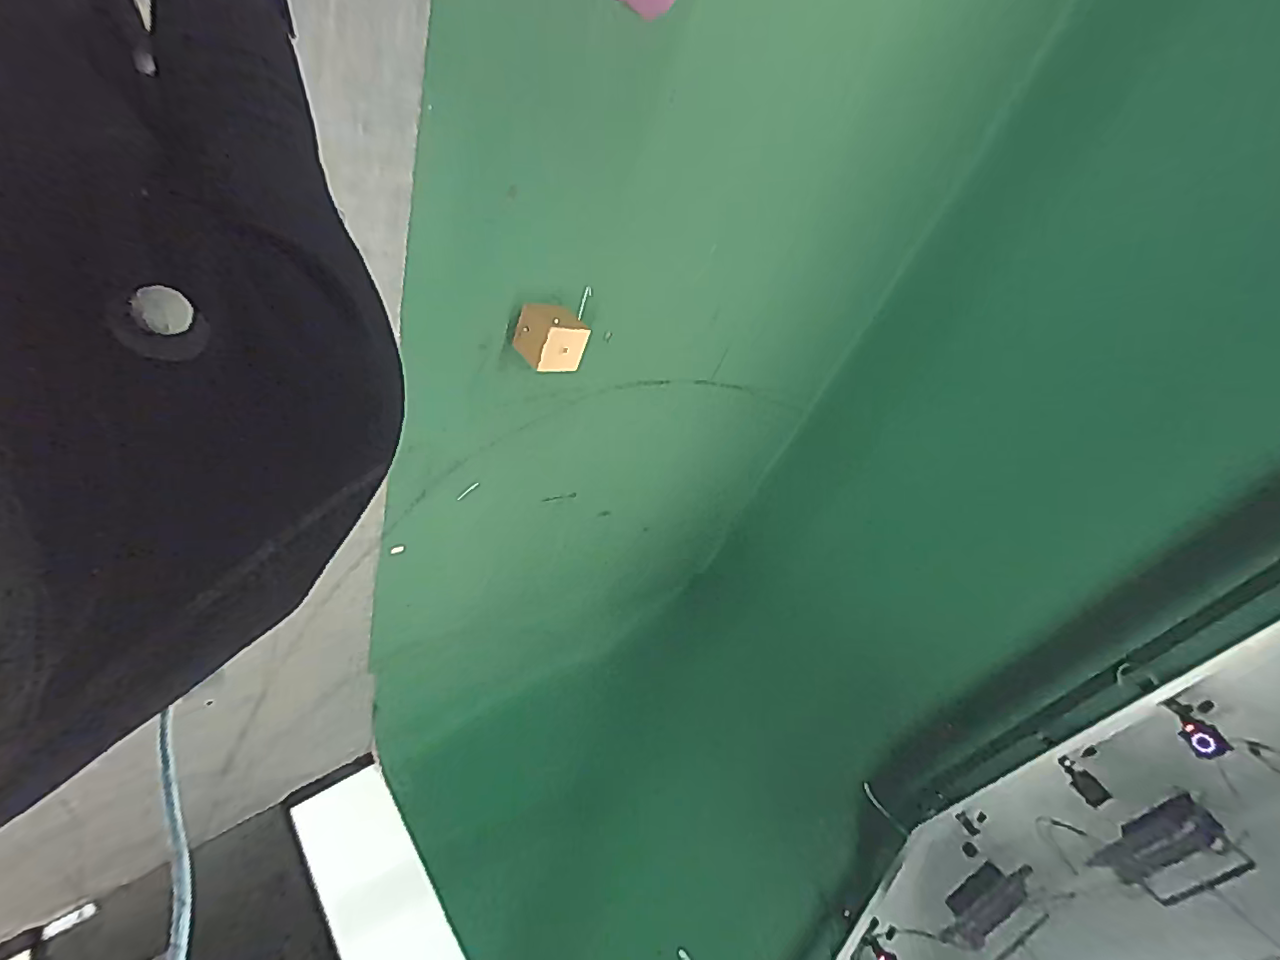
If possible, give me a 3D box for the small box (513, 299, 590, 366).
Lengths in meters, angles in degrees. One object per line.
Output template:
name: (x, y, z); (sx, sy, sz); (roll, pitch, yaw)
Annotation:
small box: (-0.310, -0.511, 1.873); (0.179, 0.176, 0.168); (-12, 140, -44)
